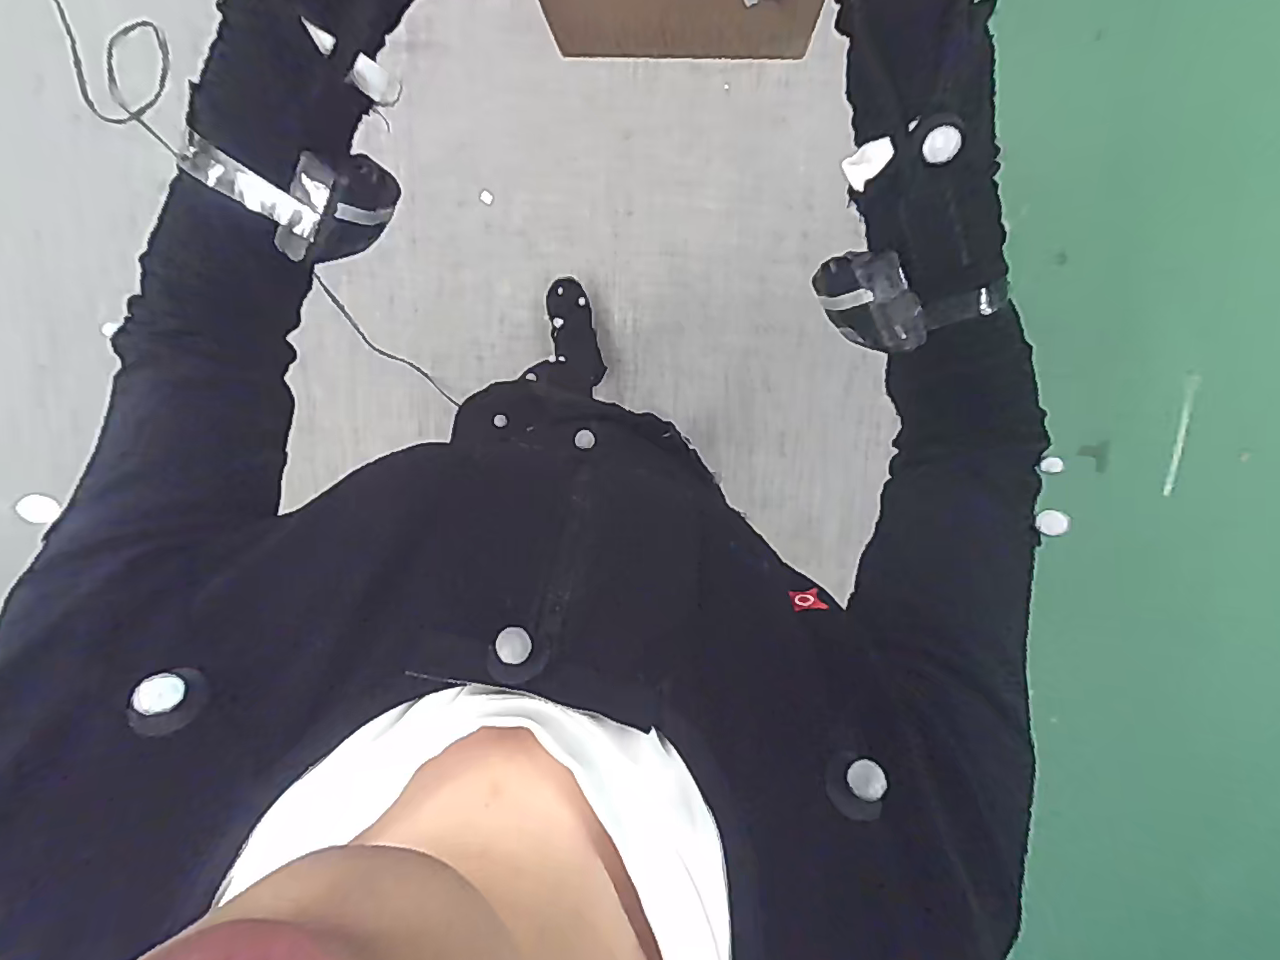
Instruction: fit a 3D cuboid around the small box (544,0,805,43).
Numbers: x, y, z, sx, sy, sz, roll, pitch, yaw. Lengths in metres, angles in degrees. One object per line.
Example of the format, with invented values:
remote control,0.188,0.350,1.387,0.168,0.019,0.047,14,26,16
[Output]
small box,0.023,-0.368,0.282,0.179,0.176,0.168,4,102,5
